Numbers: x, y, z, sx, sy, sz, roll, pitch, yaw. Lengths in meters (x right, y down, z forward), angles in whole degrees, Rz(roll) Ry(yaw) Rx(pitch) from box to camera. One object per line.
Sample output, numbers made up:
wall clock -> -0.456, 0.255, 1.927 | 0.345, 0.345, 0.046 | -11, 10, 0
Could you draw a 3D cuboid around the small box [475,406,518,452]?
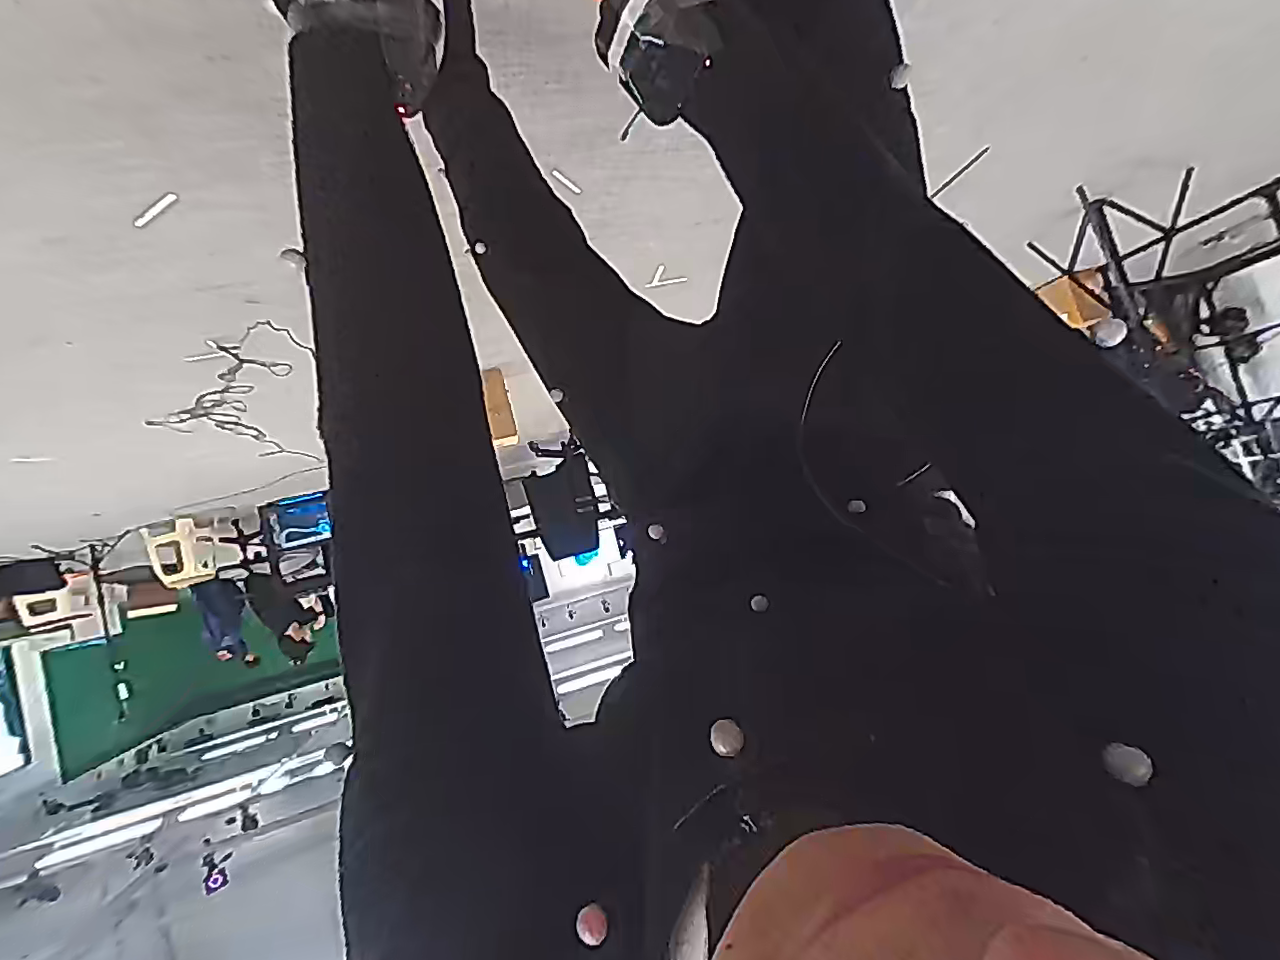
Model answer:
small box -> -0.686, -0.244, 2.577 | 0.168, 0.176, 0.179 | -14, 175, -16
